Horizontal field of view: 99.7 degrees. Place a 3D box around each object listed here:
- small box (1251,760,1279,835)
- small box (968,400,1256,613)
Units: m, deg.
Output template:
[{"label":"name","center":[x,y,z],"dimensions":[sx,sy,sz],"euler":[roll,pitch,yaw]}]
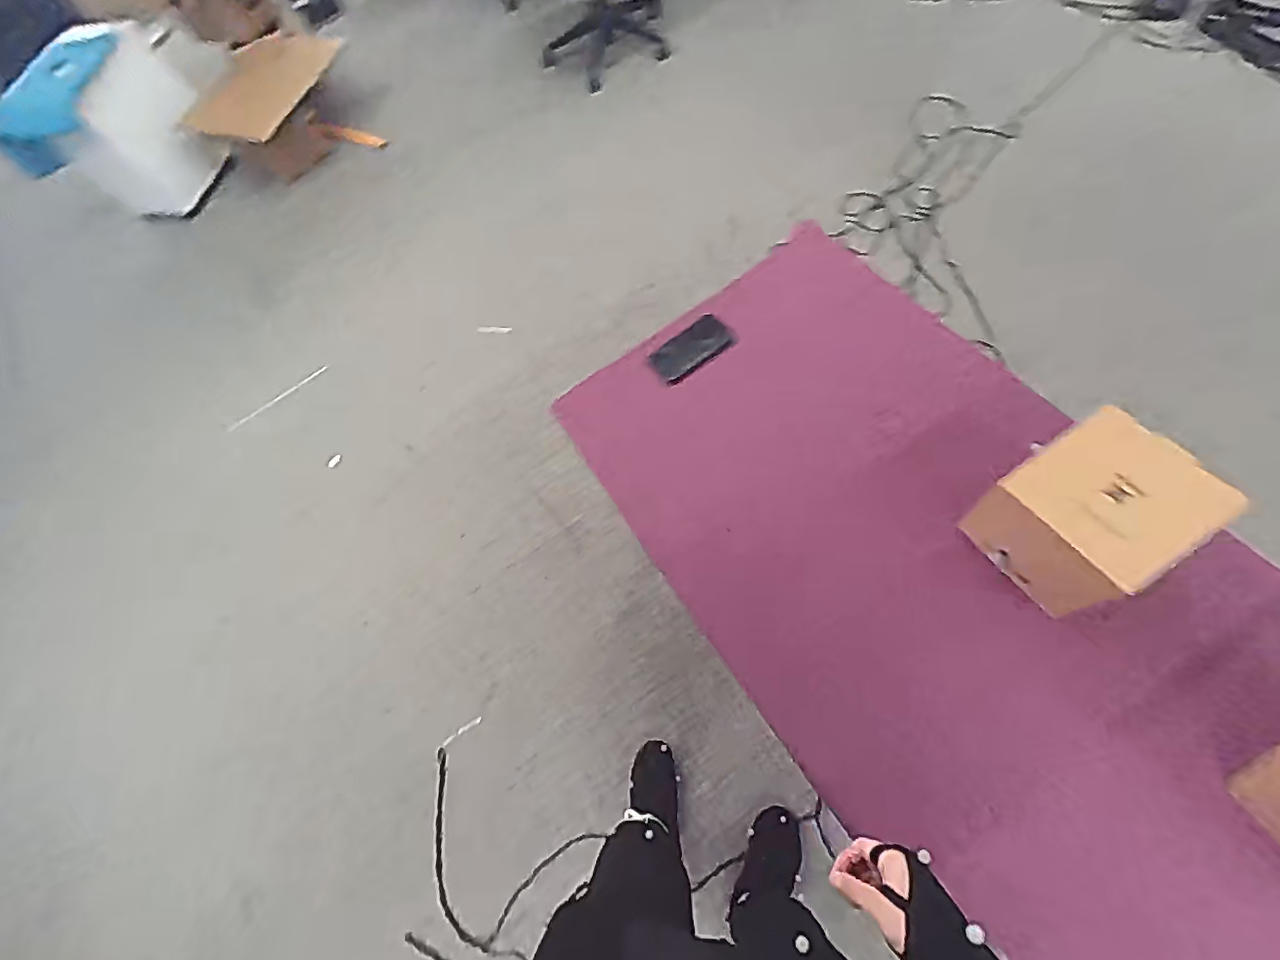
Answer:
[{"label":"small box","center":[0.760,0.326,0.499],"dimensions":[0.179,0.176,0.168],"euler":[-33,63,-3]},{"label":"small box","center":[0.555,0.041,0.671],"dimensions":[0.179,0.176,0.168],"euler":[-35,63,-3]}]
